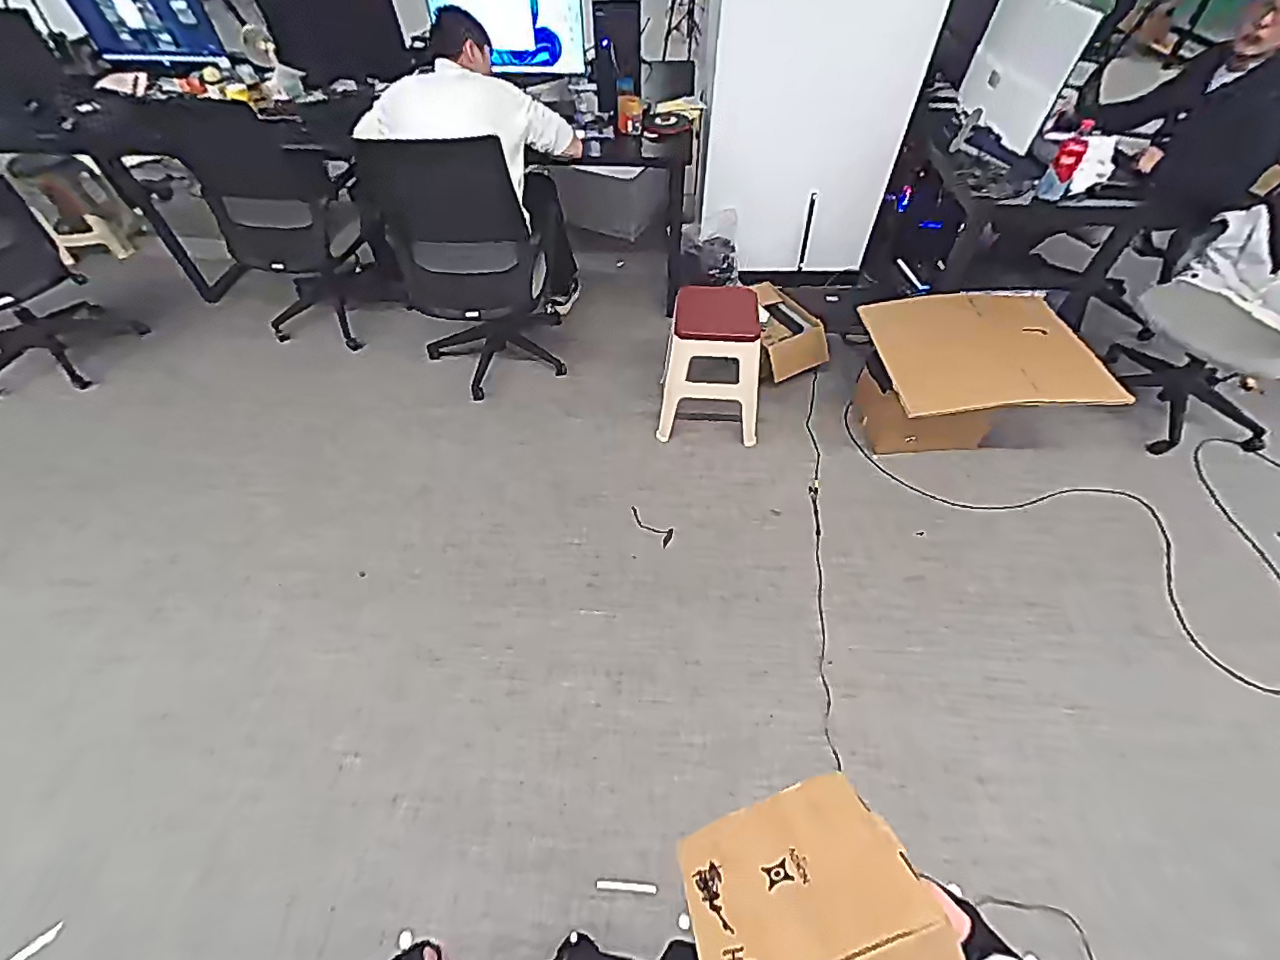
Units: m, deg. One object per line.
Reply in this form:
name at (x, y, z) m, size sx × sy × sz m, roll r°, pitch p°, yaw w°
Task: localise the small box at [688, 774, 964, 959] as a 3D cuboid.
small box at (0.160, 0.403, 0.463) m, size 0.179 × 0.168 × 0.176 m, roll -21°, pitch 95°, yaw -3°
